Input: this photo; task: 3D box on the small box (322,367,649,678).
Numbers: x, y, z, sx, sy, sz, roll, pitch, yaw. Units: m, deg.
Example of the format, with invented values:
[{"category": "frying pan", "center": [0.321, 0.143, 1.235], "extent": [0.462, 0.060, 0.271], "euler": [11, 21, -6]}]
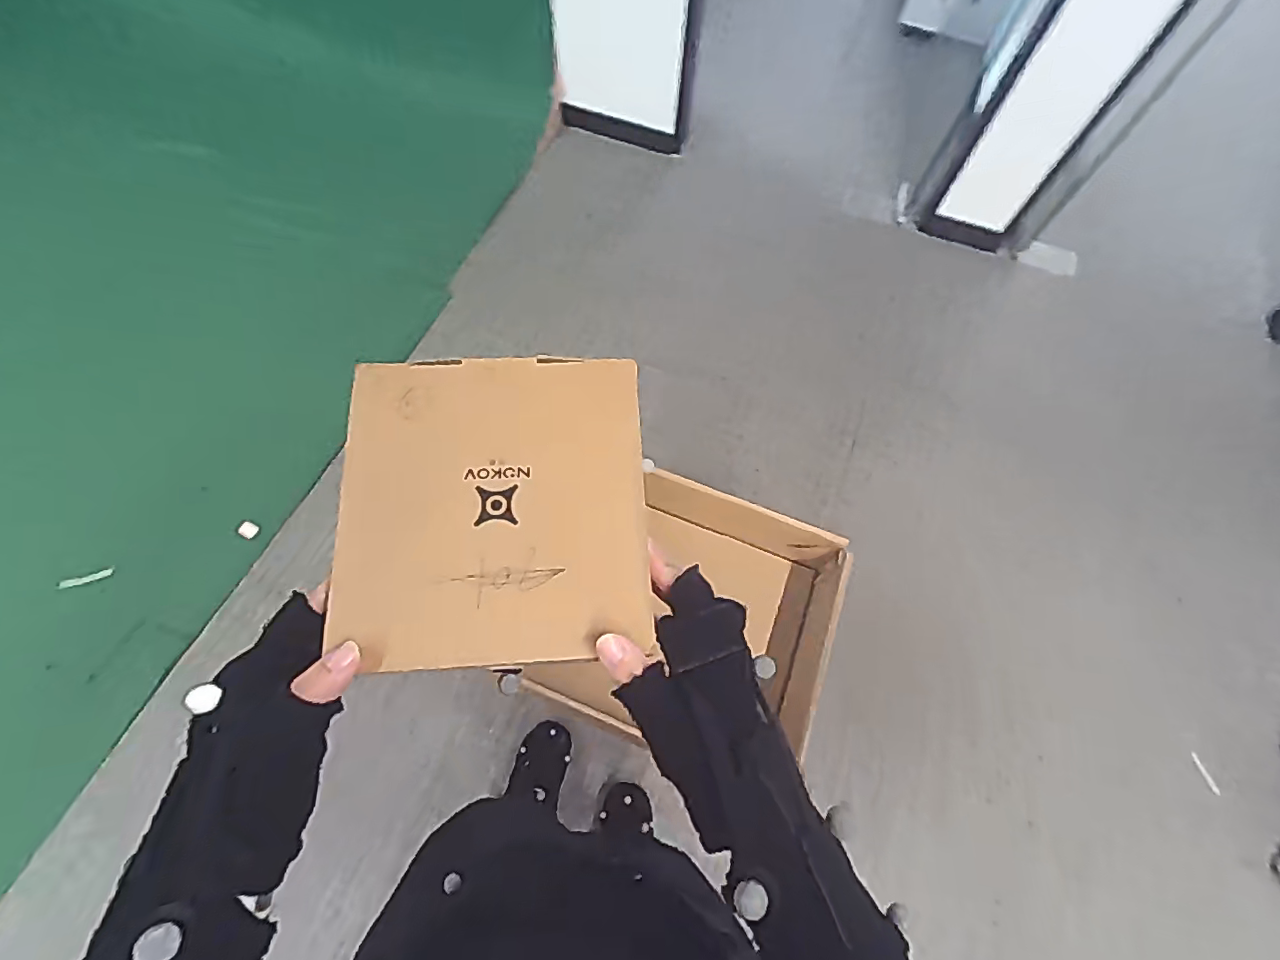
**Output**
[{"category": "small box", "center": [-0.088, 0.040, 0.376], "extent": [0.168, 0.176, 0.179], "euler": [-3, 71, -5]}]
